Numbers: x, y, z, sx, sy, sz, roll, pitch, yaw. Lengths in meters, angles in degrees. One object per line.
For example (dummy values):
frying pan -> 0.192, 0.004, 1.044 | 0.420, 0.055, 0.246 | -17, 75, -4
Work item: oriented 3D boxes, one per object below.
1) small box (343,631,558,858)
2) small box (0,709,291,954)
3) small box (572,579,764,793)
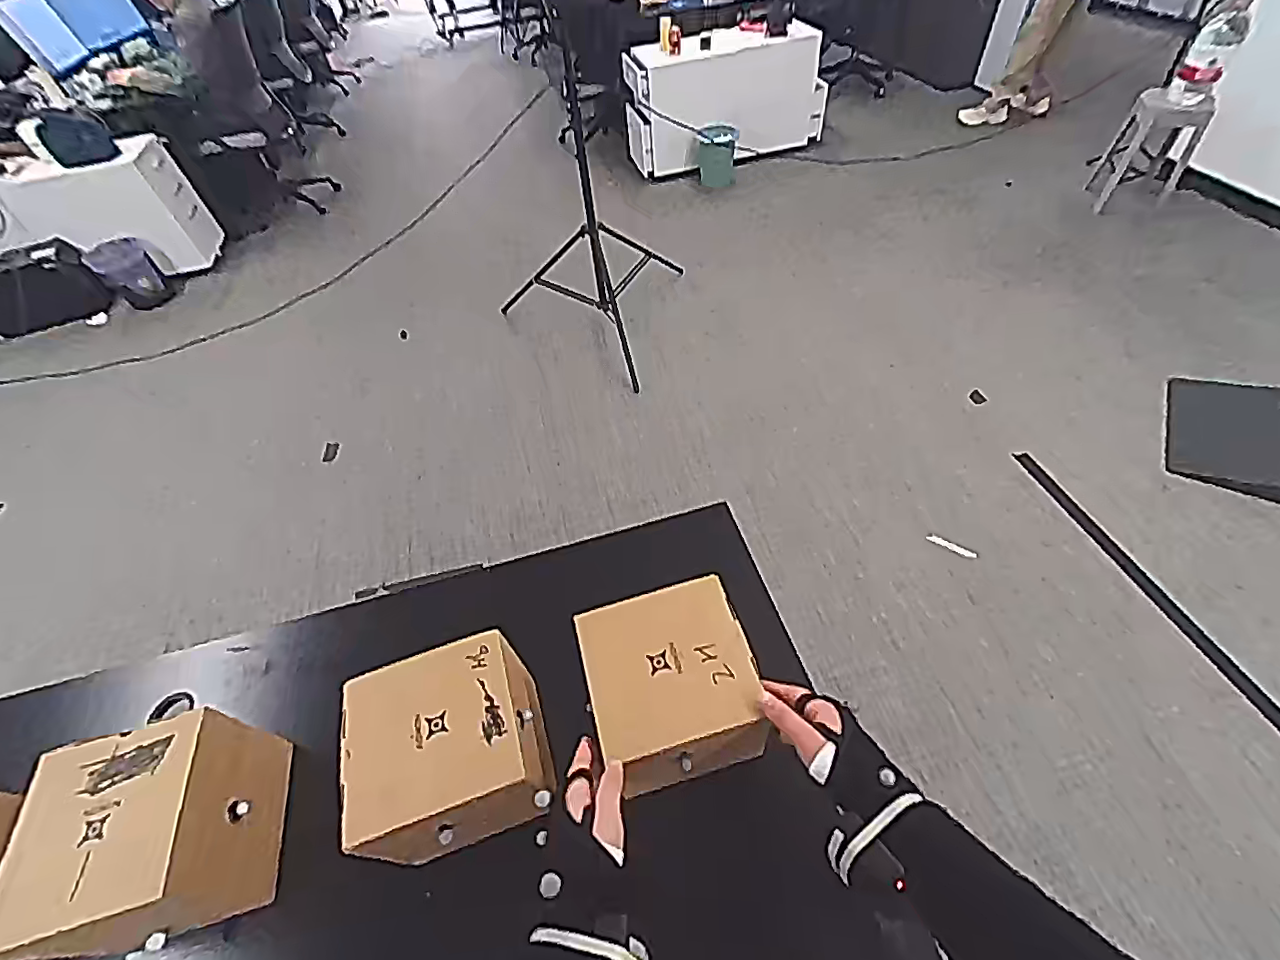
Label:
small box -> -0.211, 0.308, 0.622 | 0.179, 0.176, 0.168 | -19, 52, -8
small box -> -0.519, 0.384, 0.593 | 0.168, 0.176, 0.179 | -16, 52, -6
small box -> 0.032, 0.248, 0.642 | 0.179, 0.176, 0.168 | -15, 51, -6
